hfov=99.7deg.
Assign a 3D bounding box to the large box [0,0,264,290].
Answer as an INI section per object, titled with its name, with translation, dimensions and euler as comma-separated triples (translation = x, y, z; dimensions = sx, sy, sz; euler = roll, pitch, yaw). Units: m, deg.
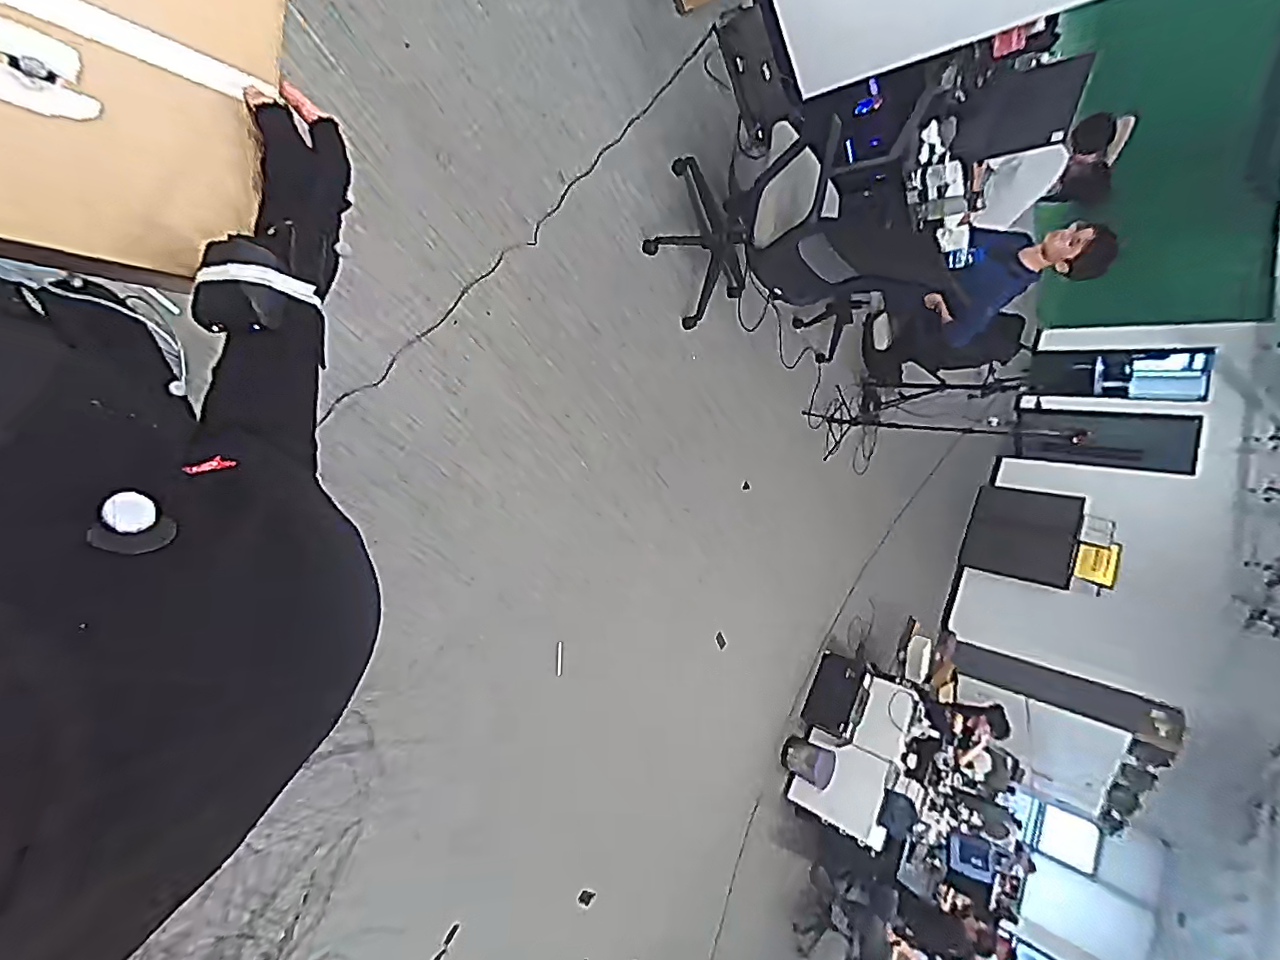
[large box]
translation = -0.568, -0.350, 0.415
dimensions = 0.408, 0.320, 0.320
euler = -1, 104, -47
